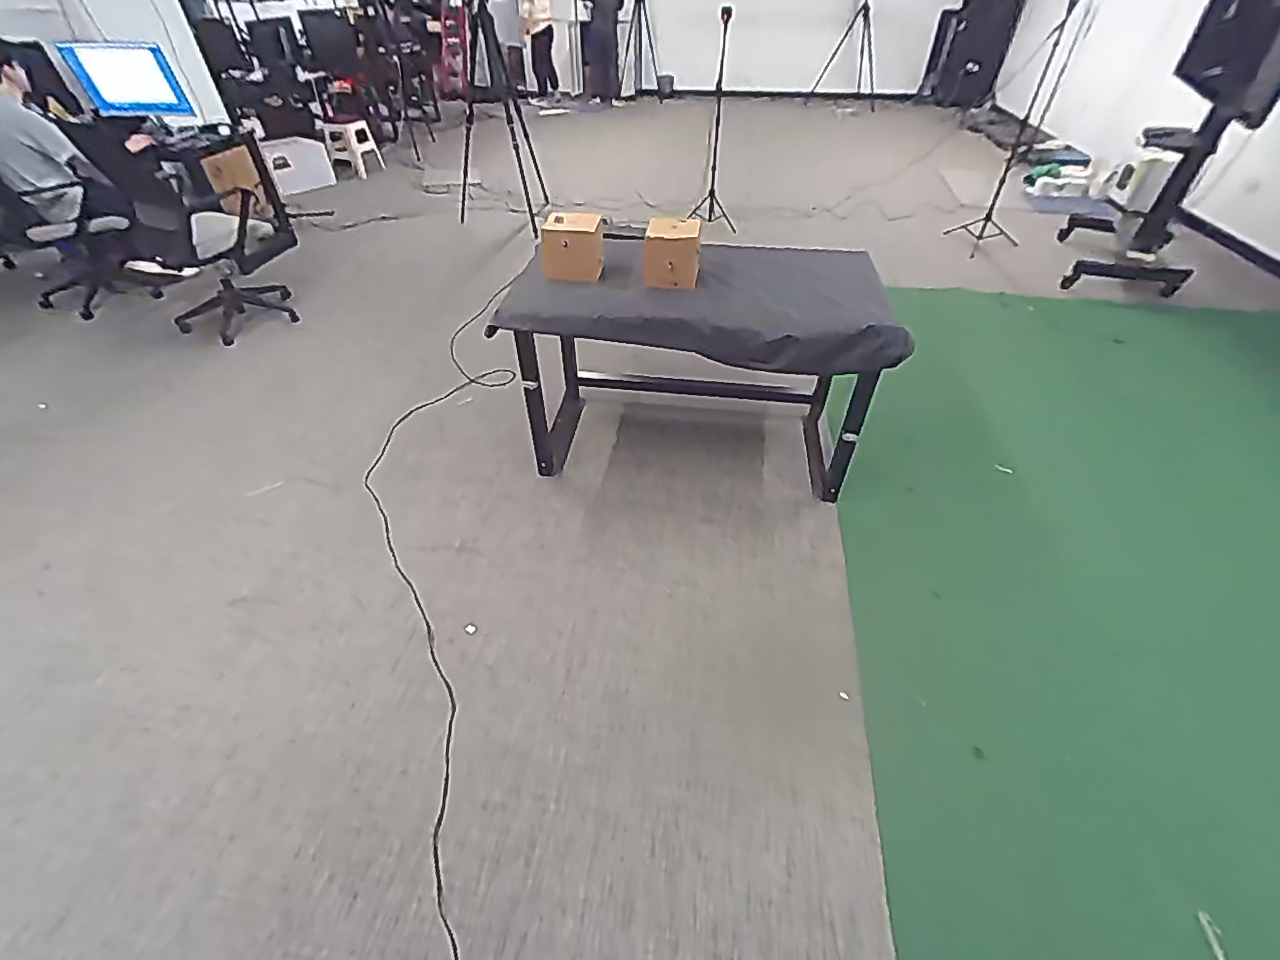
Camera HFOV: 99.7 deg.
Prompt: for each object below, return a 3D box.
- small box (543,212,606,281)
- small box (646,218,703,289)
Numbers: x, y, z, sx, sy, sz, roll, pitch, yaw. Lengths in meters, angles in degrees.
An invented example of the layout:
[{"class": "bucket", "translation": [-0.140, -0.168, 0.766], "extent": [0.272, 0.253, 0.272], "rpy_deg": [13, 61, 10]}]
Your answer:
[{"class": "small box", "translation": [-0.214, -0.780, 1.810], "extent": [0.179, 0.176, 0.168], "rpy_deg": [5, 44, 3]}, {"class": "small box", "translation": [0.113, -0.741, 1.772], "extent": [0.168, 0.176, 0.179], "rpy_deg": [6, 44, 6]}]
